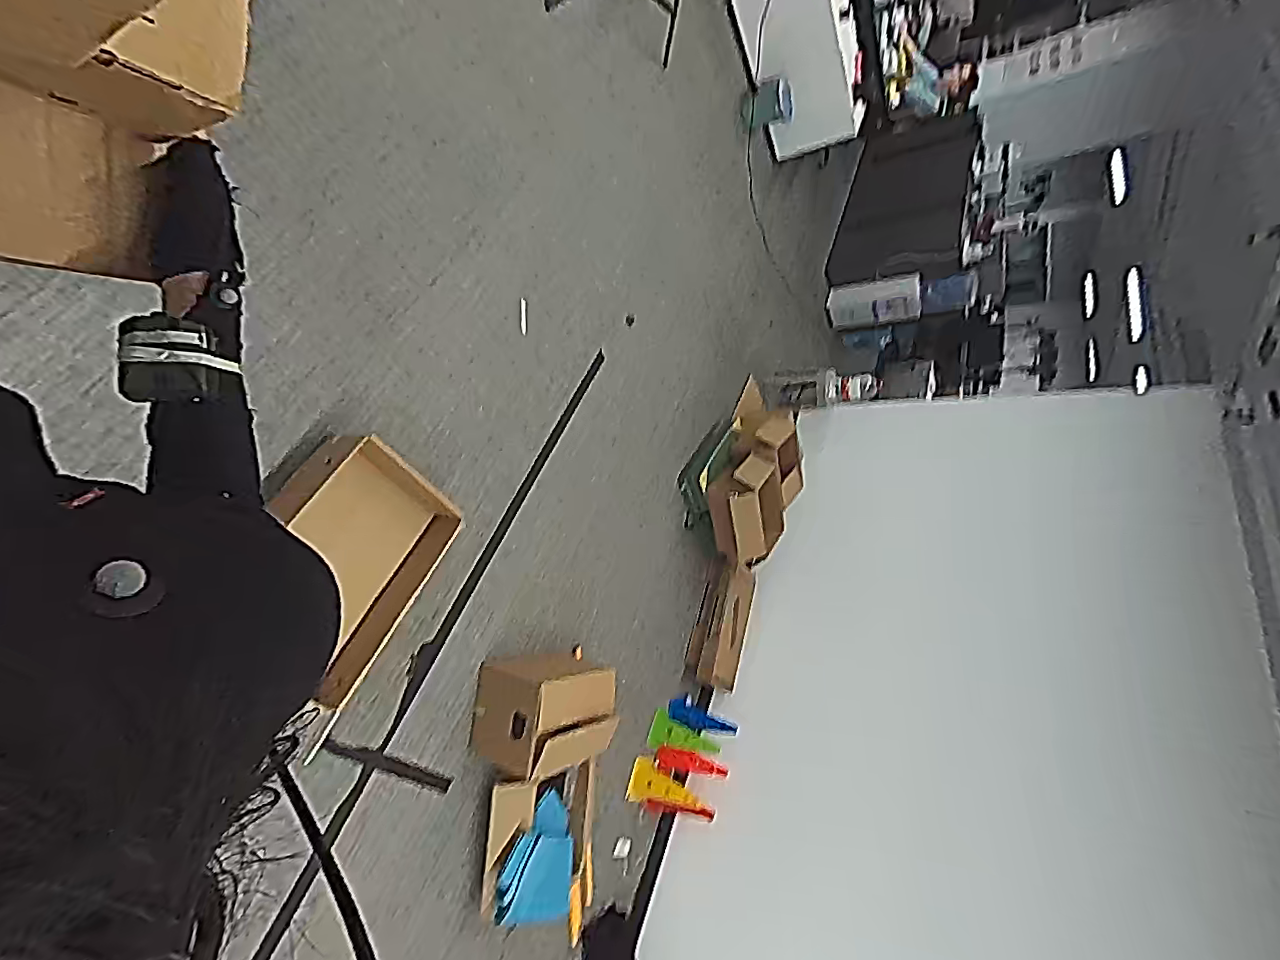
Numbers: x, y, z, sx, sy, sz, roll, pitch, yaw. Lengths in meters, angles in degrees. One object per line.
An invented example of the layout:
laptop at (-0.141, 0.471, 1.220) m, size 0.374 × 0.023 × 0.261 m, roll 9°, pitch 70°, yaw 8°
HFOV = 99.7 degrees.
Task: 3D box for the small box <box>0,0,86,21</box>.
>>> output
small box at (-0.283, -0.275, 0.156) m, size 0.168 × 0.176 × 0.179 m, roll -24°, pitch 125°, yaw -50°
